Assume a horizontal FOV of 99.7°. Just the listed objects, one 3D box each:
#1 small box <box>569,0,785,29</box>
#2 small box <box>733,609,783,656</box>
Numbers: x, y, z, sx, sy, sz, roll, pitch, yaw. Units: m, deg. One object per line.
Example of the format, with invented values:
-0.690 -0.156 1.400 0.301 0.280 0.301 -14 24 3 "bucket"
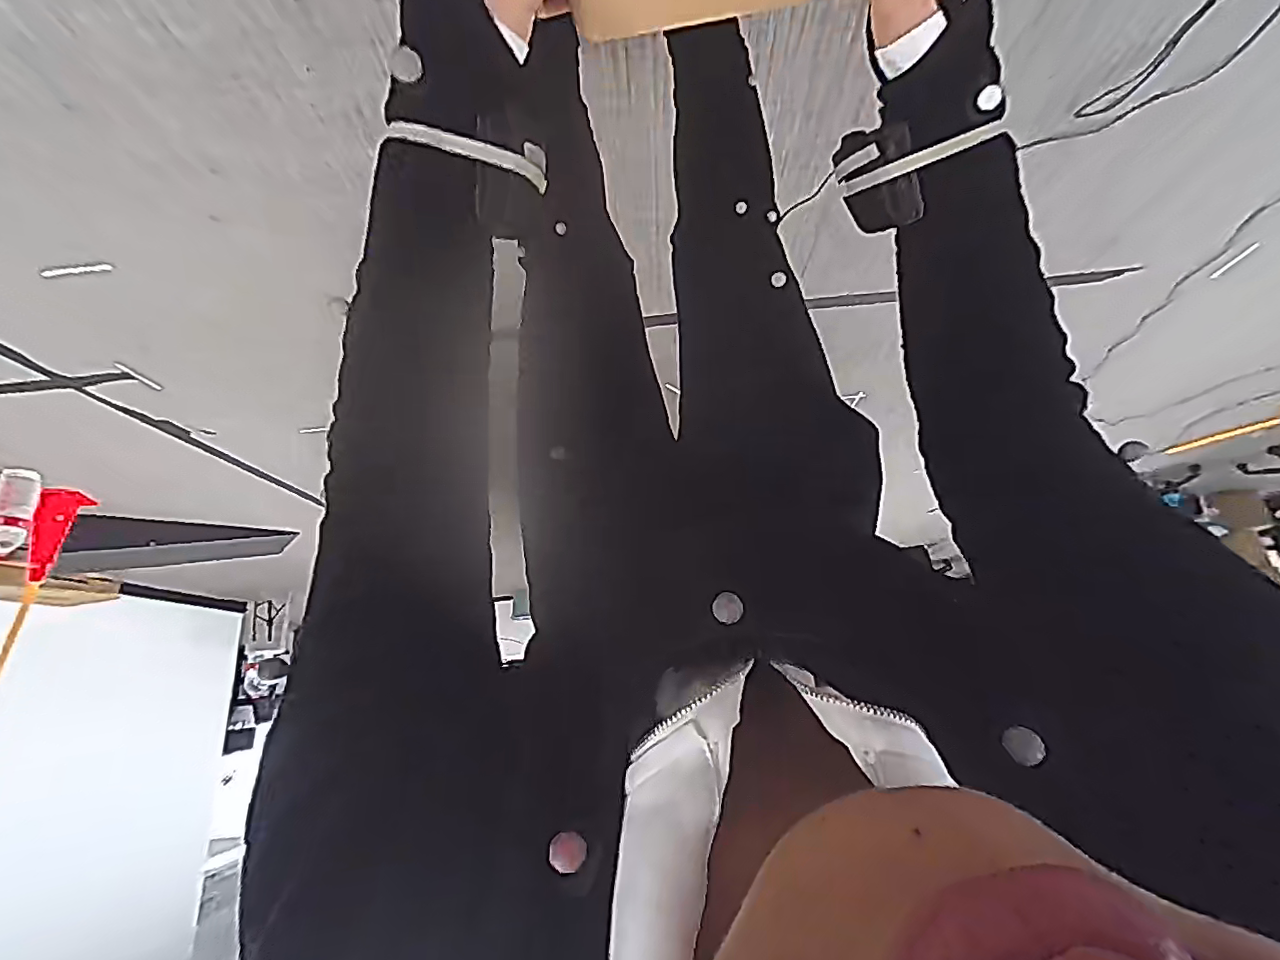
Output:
0.037 -0.388 0.279 0.179 0.176 0.168 2 160 13 "small box"
0.485 0.636 2.254 0.168 0.176 0.179 -7 159 1 "small box"
